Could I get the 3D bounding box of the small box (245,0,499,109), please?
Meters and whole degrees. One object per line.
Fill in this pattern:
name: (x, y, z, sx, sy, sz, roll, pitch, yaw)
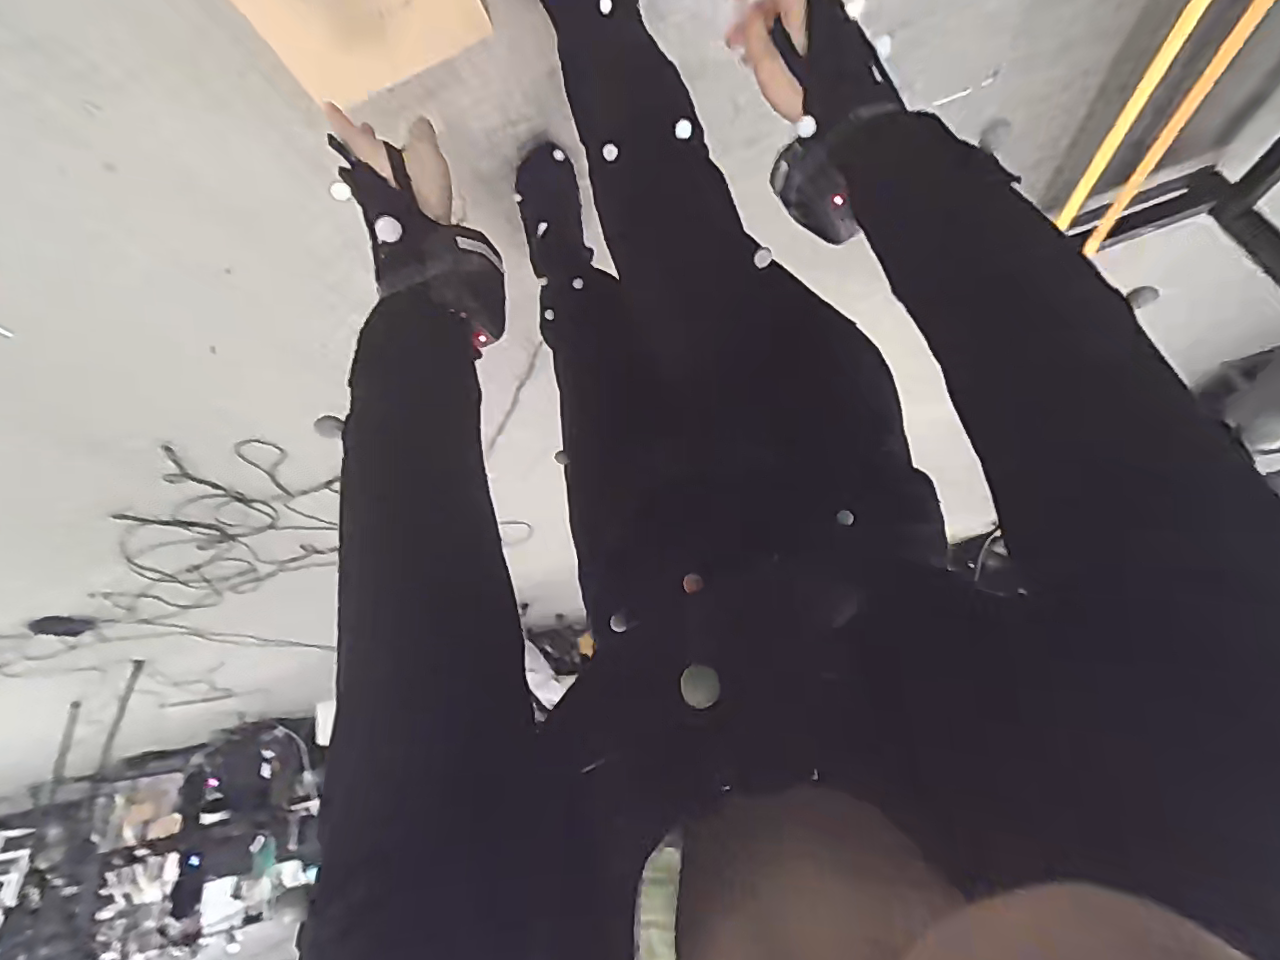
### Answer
small box: (-0.233, -0.450, 0.416, 0.168, 0.176, 0.179, -19, 157, 10)
